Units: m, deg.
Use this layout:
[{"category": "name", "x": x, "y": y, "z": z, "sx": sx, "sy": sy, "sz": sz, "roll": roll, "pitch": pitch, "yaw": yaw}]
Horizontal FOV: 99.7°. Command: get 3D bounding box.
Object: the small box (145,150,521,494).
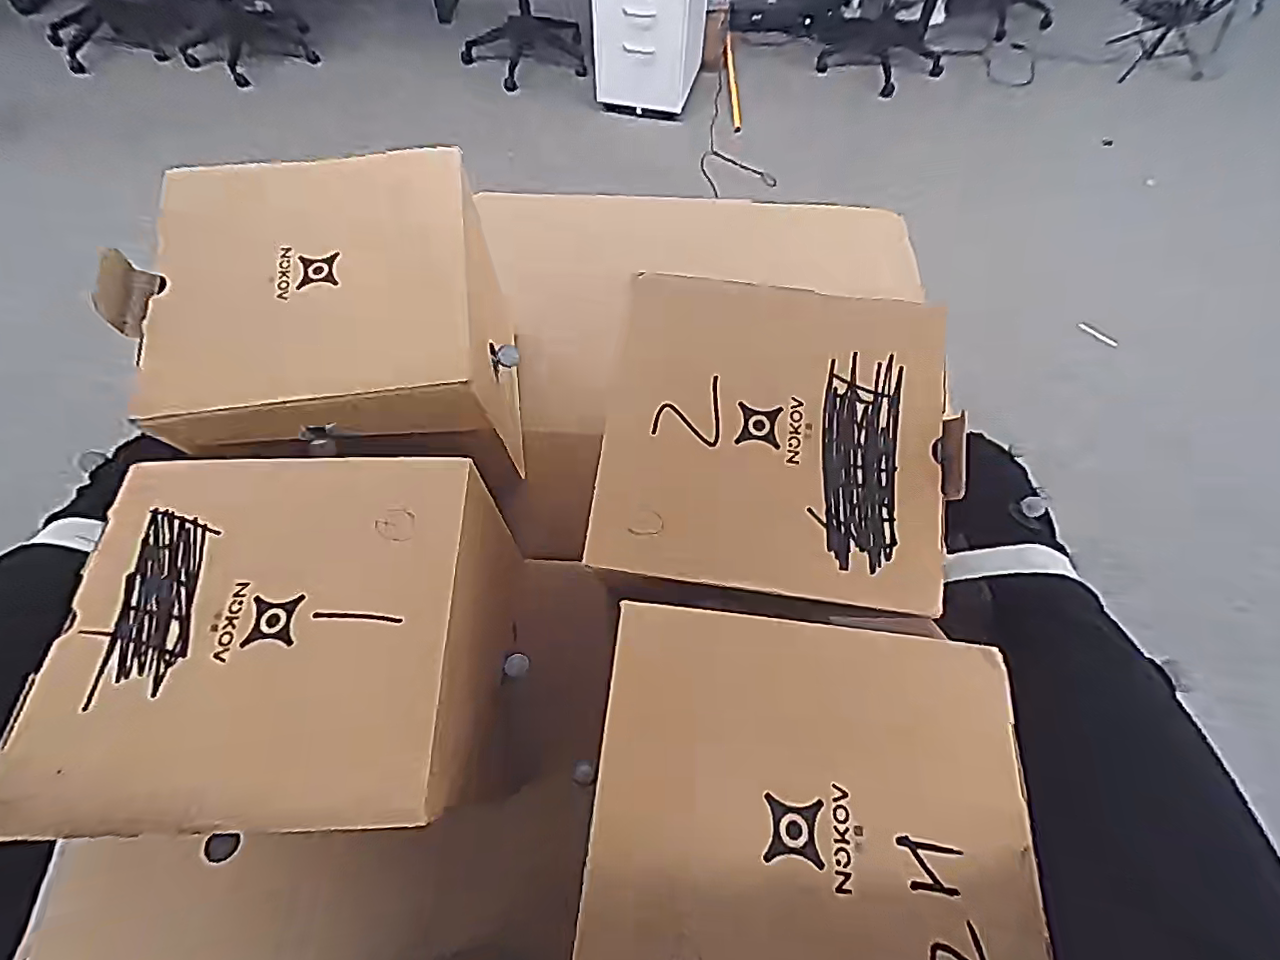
[{"category": "small box", "x": -0.187, "y": -0.098, "z": 0.391, "sx": 0.179, "sy": 0.176, "sz": 0.168, "roll": -7, "pitch": 71, "yaw": -3}]
